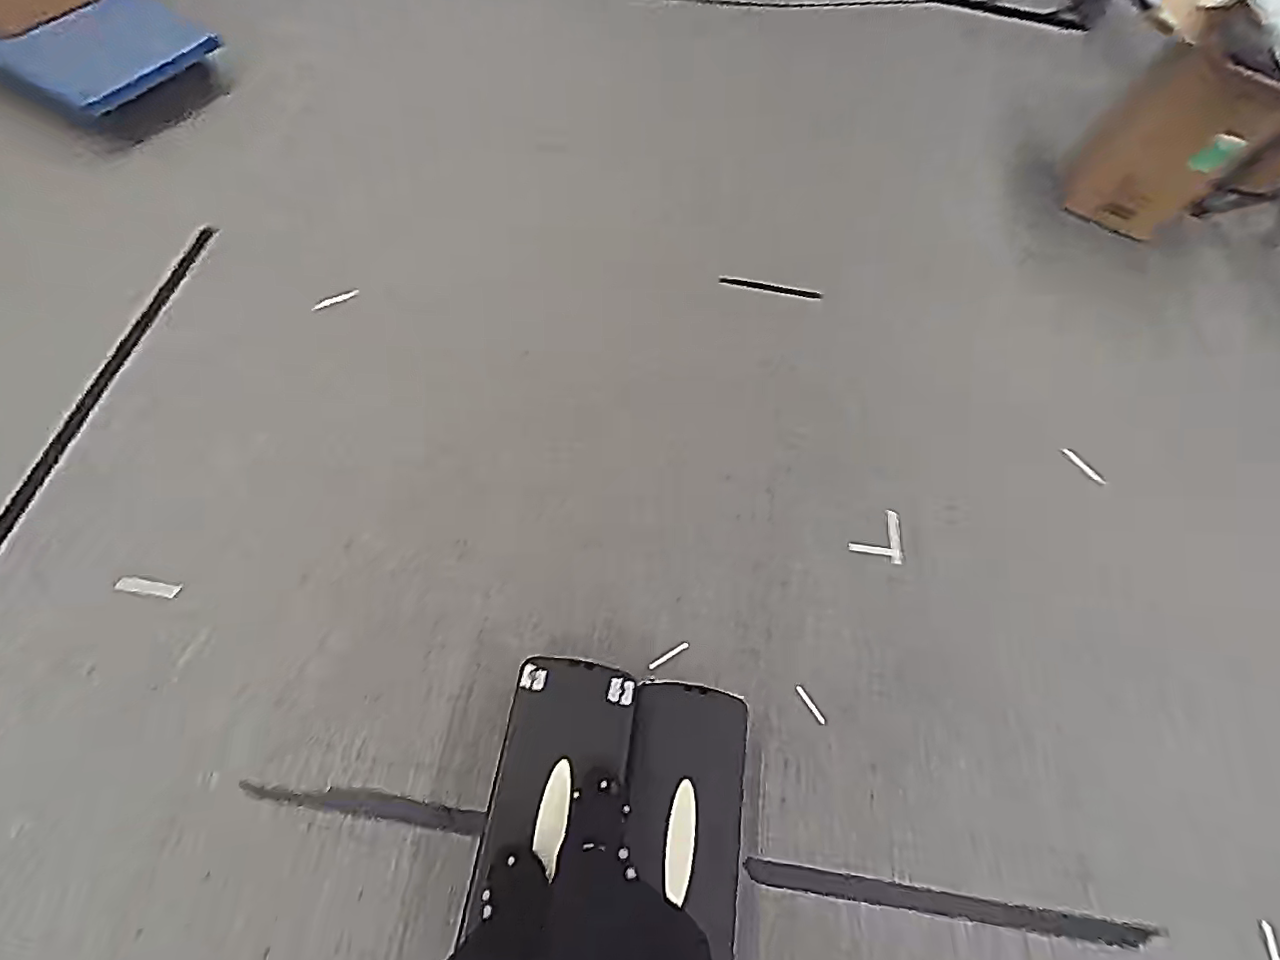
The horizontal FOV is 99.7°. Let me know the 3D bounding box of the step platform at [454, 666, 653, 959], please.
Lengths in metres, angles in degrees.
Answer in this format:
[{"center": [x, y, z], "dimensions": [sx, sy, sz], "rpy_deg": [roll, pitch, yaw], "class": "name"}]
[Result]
[{"center": [-0.174, 0.769, 1.175], "dimensions": [0.286, 0.204, 0.684], "rpy_deg": [14, 62, 1], "class": "step platform"}]
